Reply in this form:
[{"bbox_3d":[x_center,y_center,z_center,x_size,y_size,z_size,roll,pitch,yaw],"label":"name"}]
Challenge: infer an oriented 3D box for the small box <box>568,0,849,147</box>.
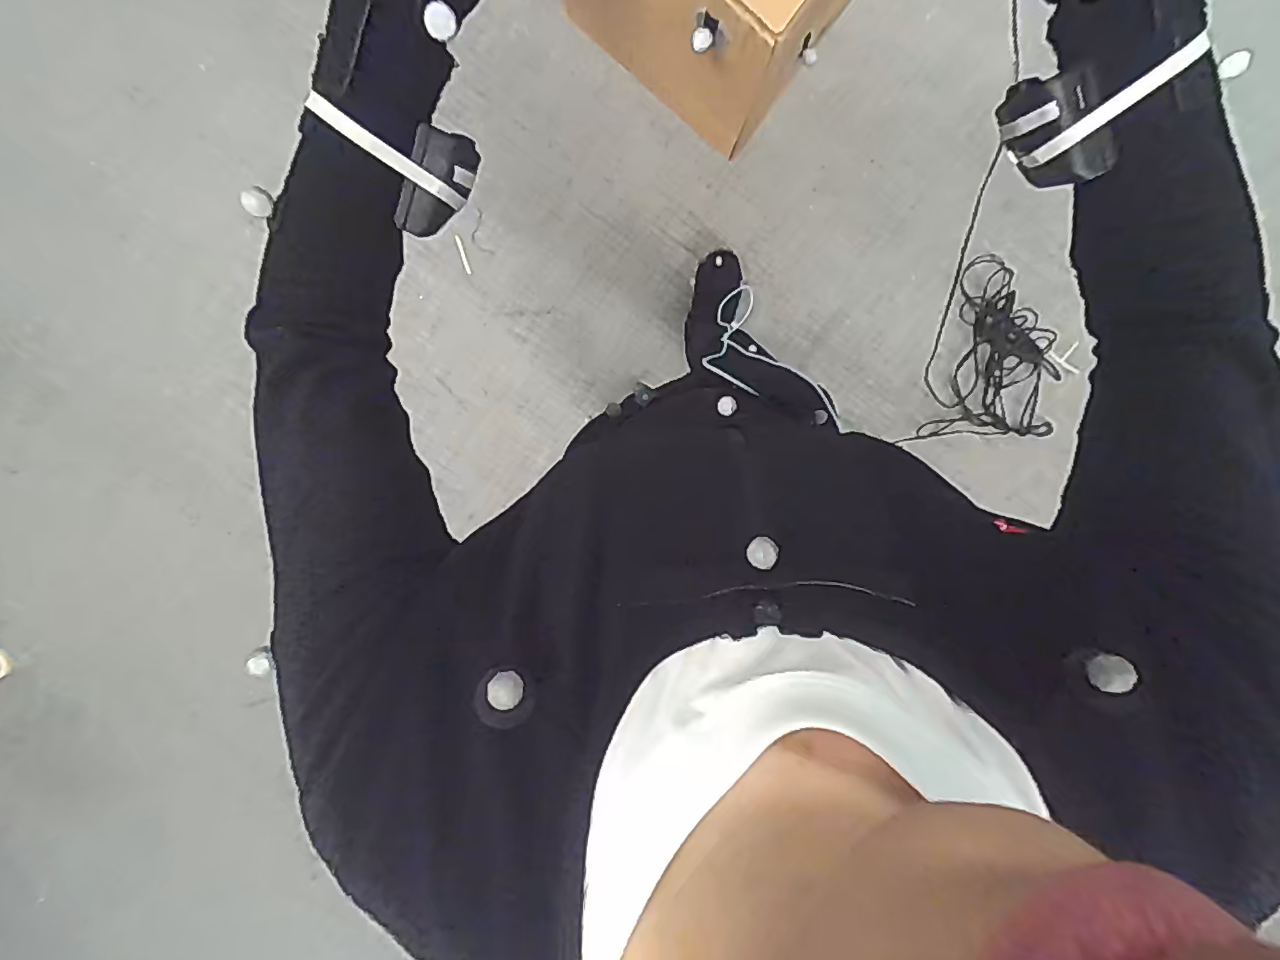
[{"bbox_3d":[0.055,-0.366,0.353,0.179,0.176,0.168,38,99,-7],"label":"small box"}]
